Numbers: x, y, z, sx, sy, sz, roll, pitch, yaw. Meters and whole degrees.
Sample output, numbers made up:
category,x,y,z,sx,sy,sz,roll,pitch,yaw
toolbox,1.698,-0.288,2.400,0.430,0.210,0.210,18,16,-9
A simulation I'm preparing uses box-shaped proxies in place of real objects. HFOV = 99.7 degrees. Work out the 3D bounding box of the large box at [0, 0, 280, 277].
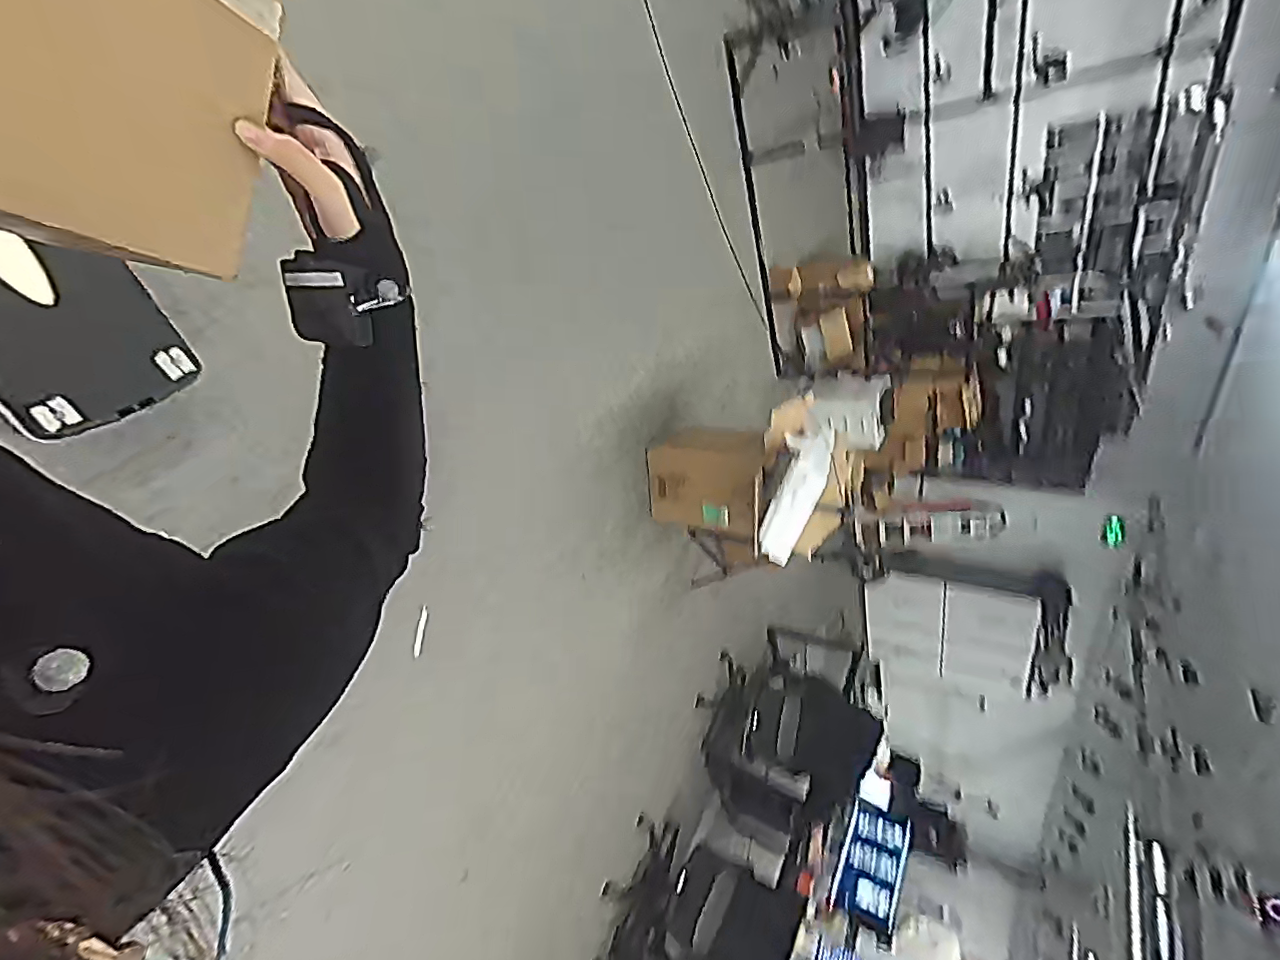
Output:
category,x,y,z,sx,sy,sz,roll,pitch,yaw
large box,-0.444,-0.314,0.229,0.408,0.320,0.320,1,104,-61

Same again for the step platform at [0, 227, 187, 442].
category,x,y,z,sx,sy,sz,roll,pitch,yaw
step platform,-1.094,-0.408,0.883,0.286,0.204,0.684,-42,127,-42
